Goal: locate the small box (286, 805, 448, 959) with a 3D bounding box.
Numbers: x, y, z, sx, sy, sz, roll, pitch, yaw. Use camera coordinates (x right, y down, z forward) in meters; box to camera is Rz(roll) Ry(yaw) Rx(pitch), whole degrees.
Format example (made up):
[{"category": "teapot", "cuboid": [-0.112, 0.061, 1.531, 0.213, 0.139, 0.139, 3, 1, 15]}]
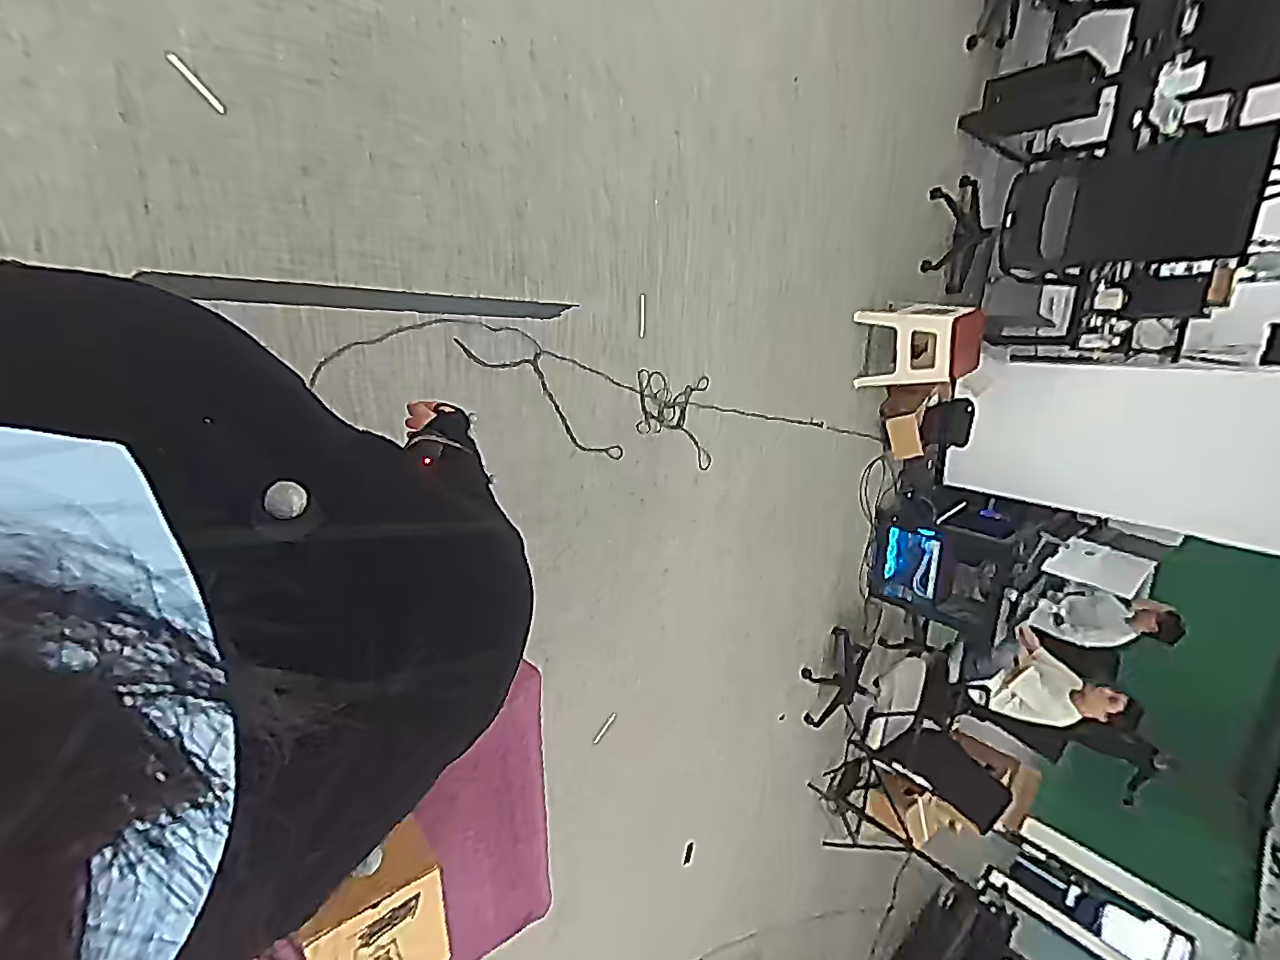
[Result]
[{"category": "small box", "cuboid": [-0.393, 0.609, 0.776, 0.168, 0.176, 0.179, -11, 109, -38]}]
